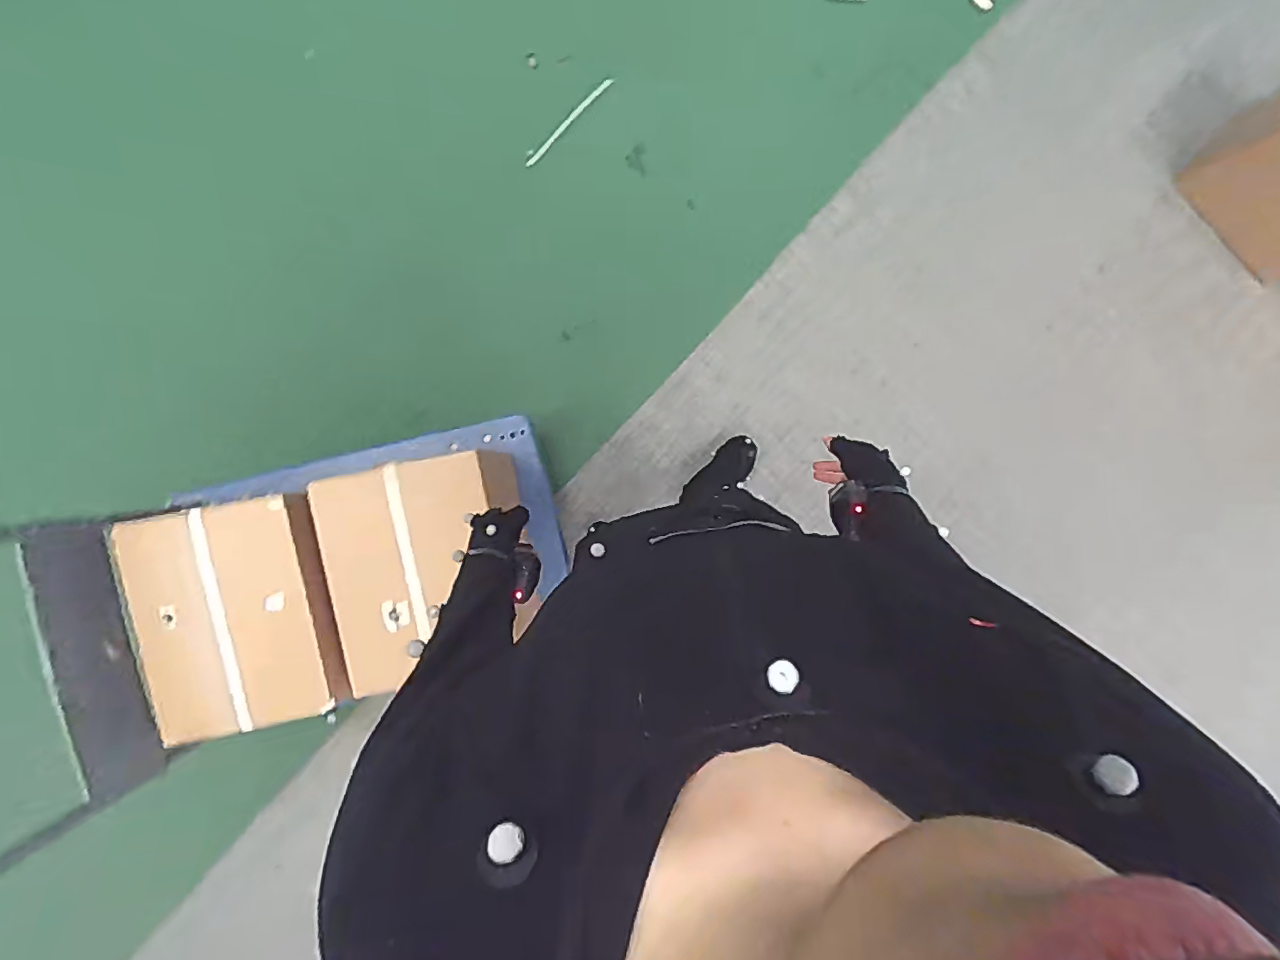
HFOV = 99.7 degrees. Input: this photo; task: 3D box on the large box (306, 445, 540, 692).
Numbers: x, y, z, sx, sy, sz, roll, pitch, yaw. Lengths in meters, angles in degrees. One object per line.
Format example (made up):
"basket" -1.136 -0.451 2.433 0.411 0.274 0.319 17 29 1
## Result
"large box" -0.415 0.156 1.125 0.320 0.320 0.408 -12 93 -1
